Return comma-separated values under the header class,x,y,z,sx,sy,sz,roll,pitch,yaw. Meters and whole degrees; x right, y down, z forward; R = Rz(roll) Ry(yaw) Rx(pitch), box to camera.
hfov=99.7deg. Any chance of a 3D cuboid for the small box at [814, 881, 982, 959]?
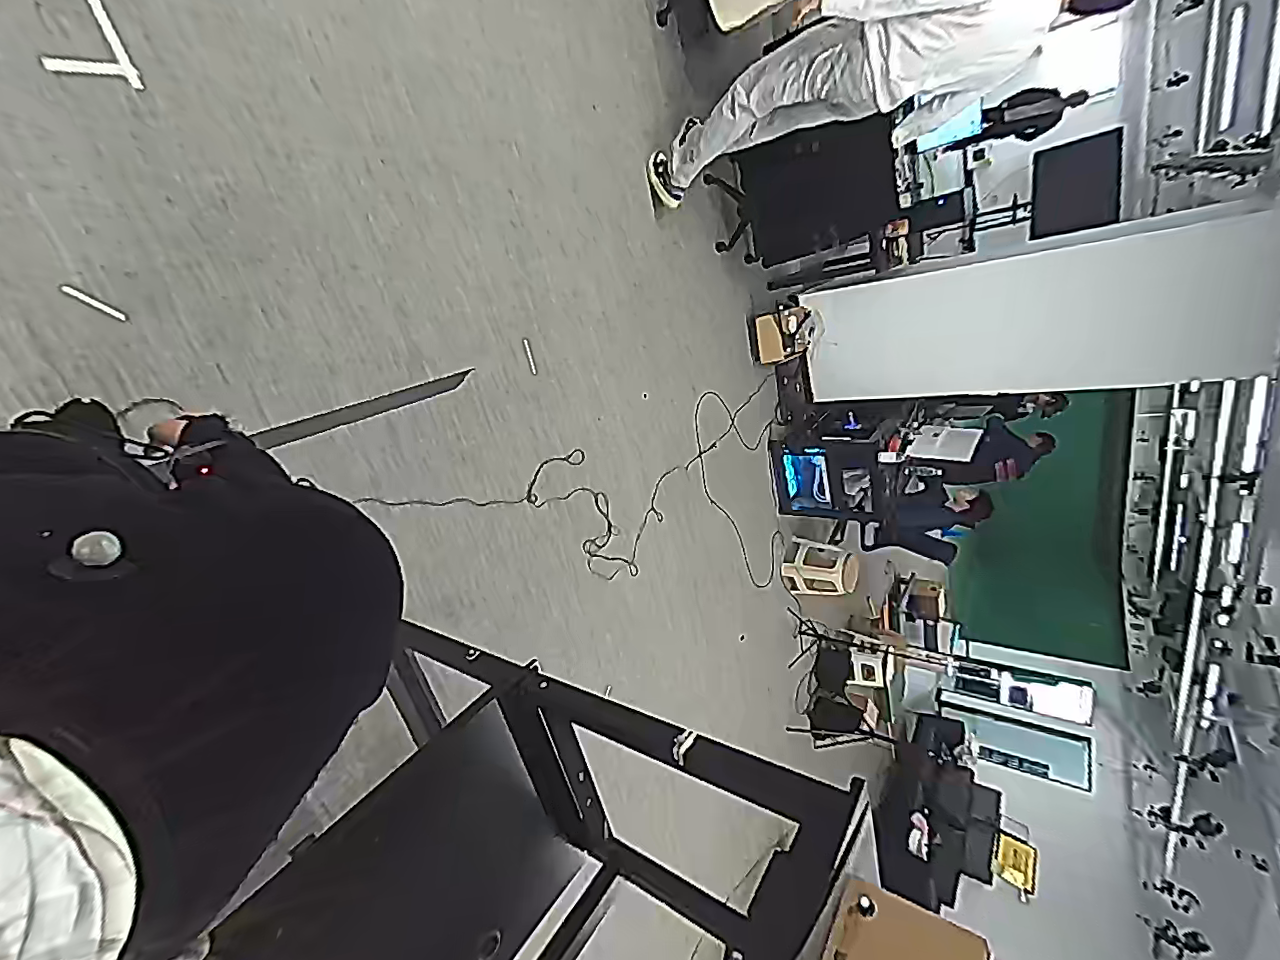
class,x,y,z,sx,sy,sz,roll,pitch,yaw
small box,0.324,0.658,0.683,0.168,0.176,0.179,-37,121,-43
